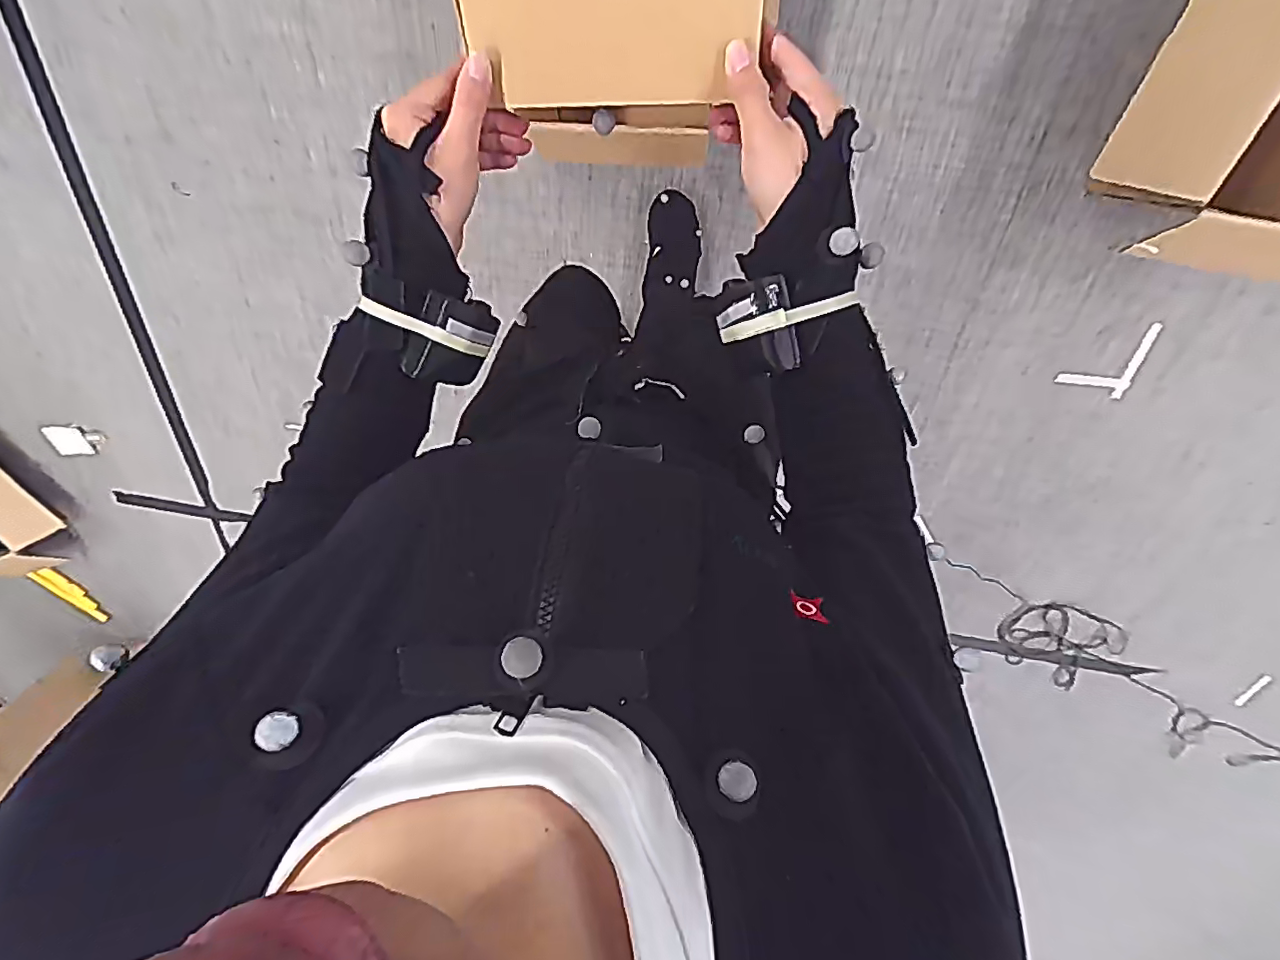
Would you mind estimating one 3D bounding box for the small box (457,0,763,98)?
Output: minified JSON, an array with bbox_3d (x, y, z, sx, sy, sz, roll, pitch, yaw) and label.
[{"bbox_3d":[-0.018,-0.350,0.345,0.179,0.176,0.168,0,128,1],"label":"small box"}]
